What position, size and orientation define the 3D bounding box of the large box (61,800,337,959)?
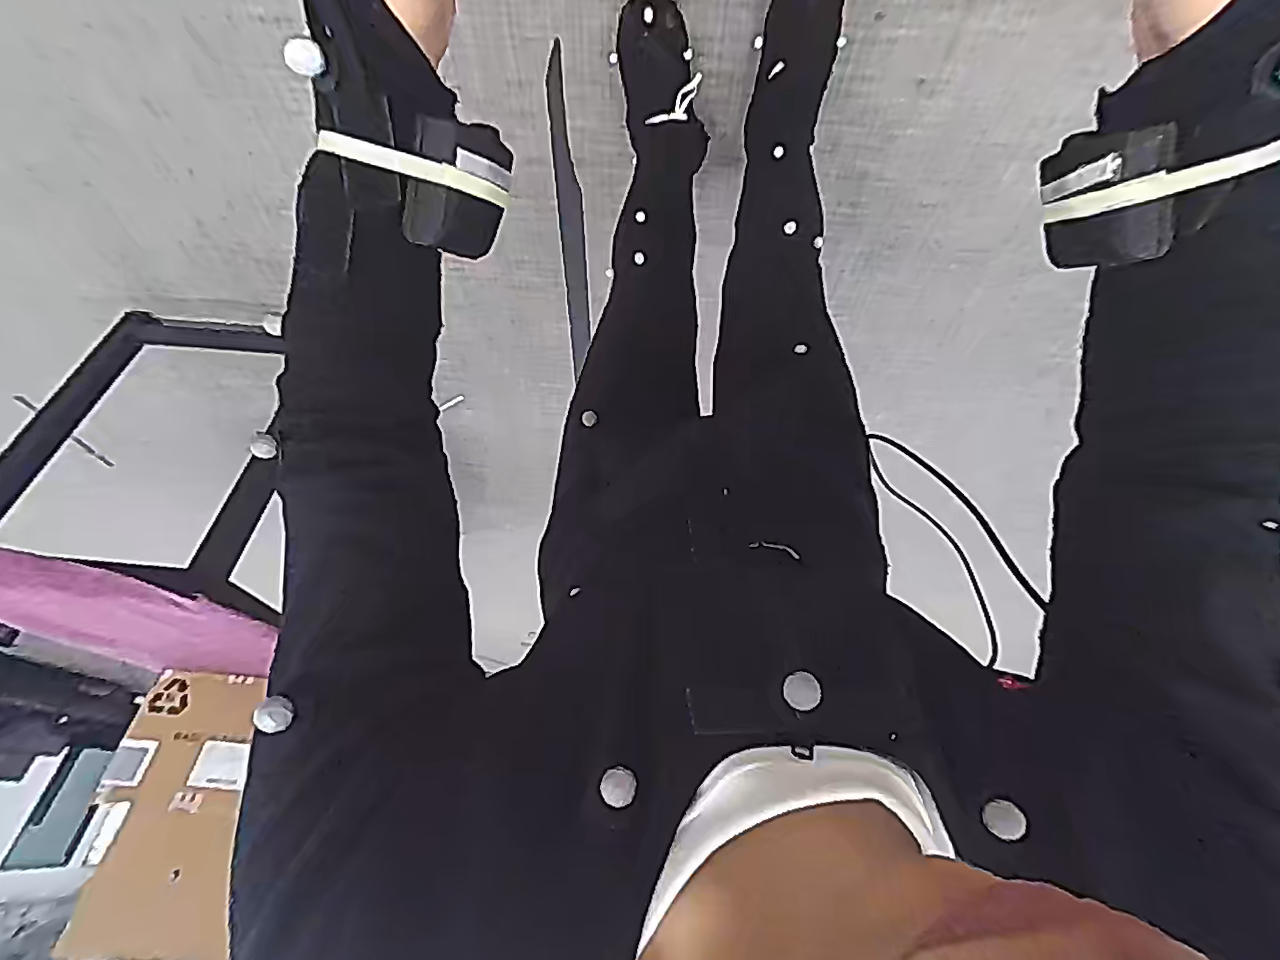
[{"bbox_3d":[-1.109,1.038,1.419,0.408,0.320,0.320,4,148,1],"label":"large box"}]
